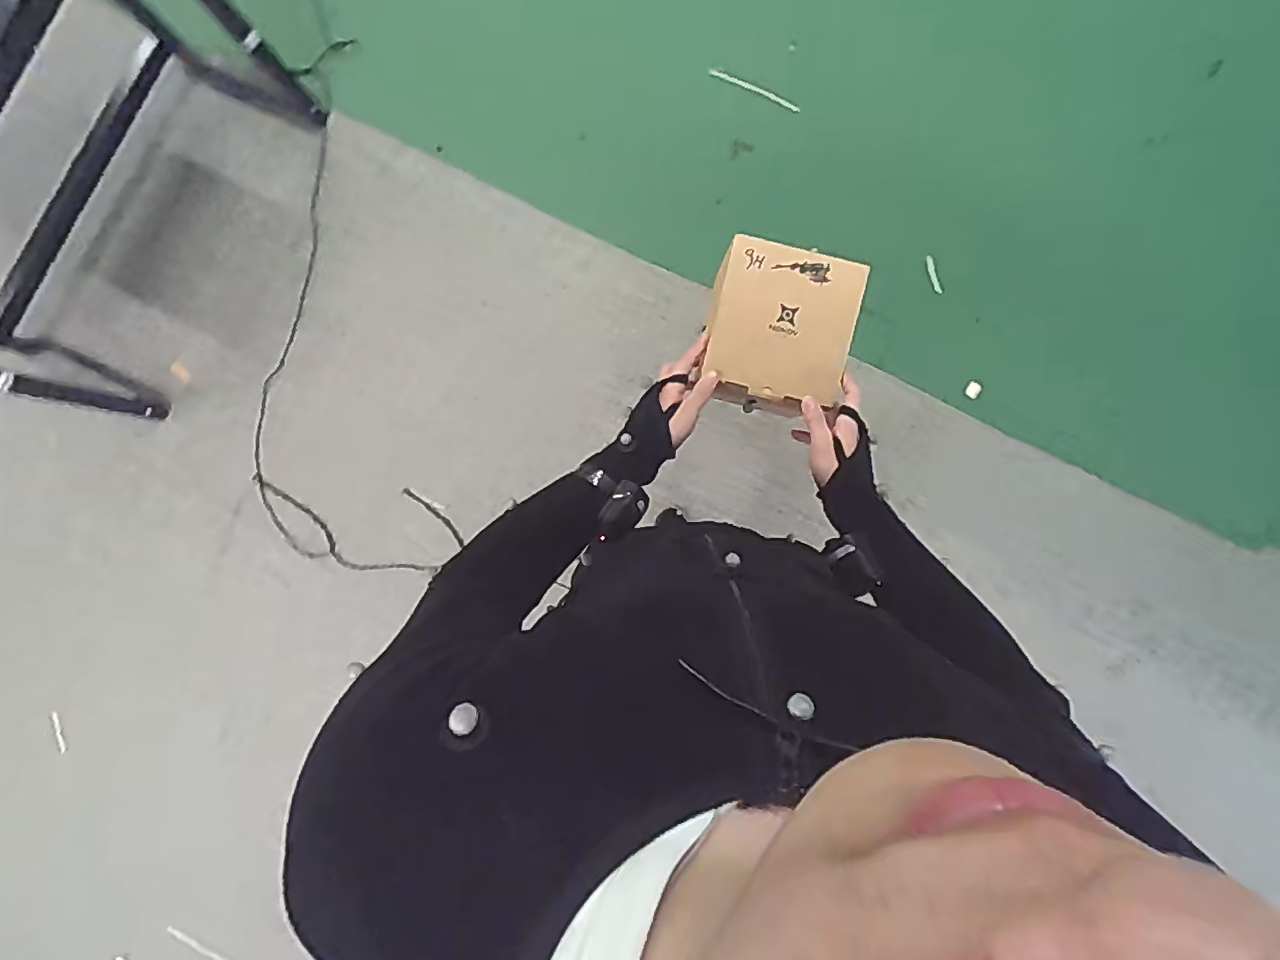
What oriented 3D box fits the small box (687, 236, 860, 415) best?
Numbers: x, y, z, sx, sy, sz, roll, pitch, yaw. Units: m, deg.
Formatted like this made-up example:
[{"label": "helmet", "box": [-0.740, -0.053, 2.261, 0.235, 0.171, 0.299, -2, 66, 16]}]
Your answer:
[{"label": "small box", "box": [0.162, -0.189, 0.718, 0.168, 0.176, 0.179, 13, 93, -1]}]
